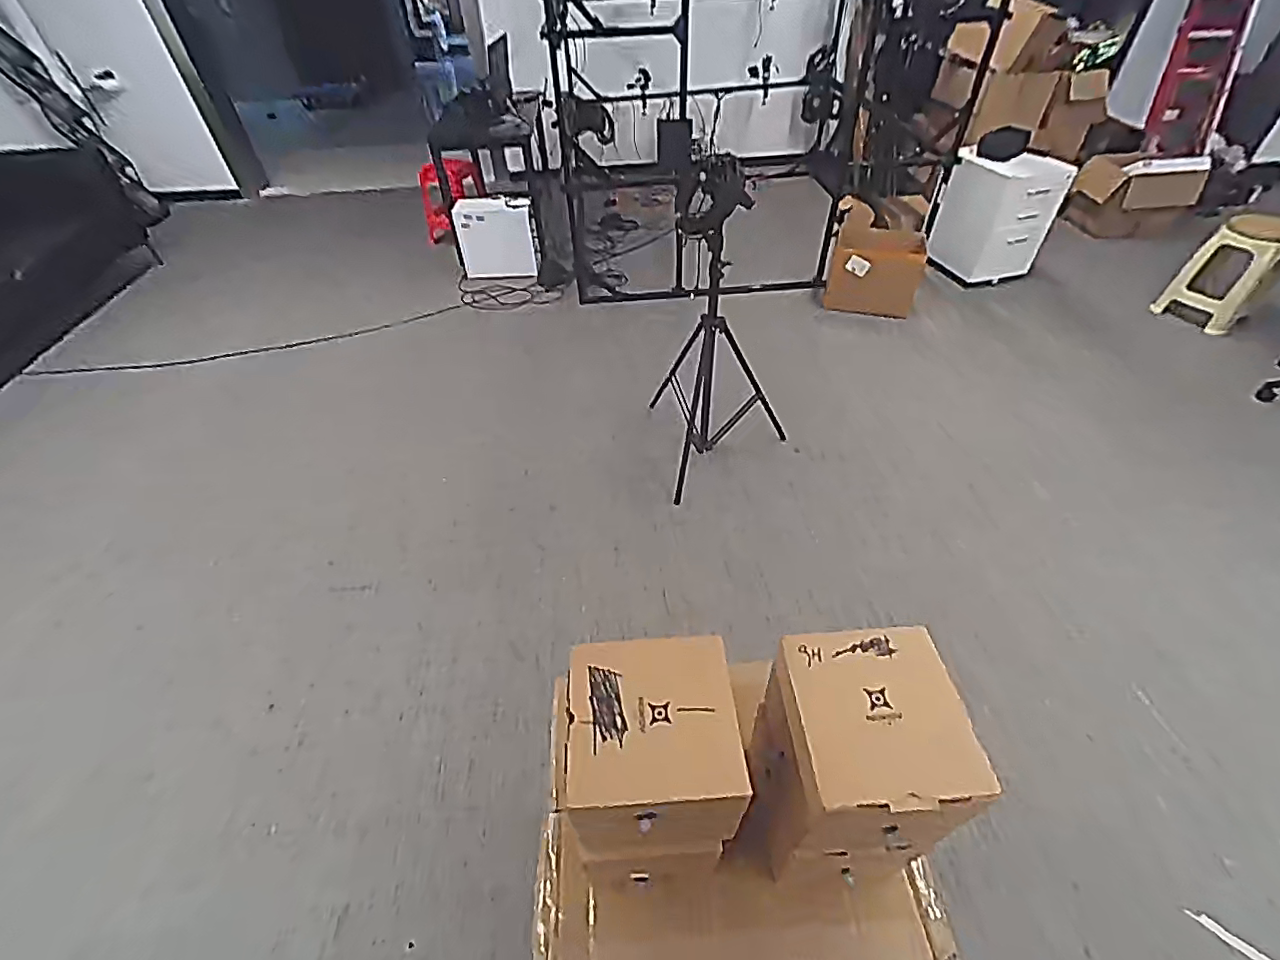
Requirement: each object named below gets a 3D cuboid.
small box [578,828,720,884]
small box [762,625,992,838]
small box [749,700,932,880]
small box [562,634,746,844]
[{"bbox_3d":[0.007,0.416,0.725,0.168,0.176,0.179,-4,46,-1],"label":"small box"},{"bbox_3d":[0.242,0.286,0.607,0.168,0.176,0.179,-3,46,-1],"label":"small box"},{"bbox_3d":[0.247,0.407,0.720,0.168,0.176,0.179,-5,45,0],"label":"small box"},{"bbox_3d":[0.011,0.295,0.613,0.179,0.176,0.168,-3,45,-2],"label":"small box"}]
